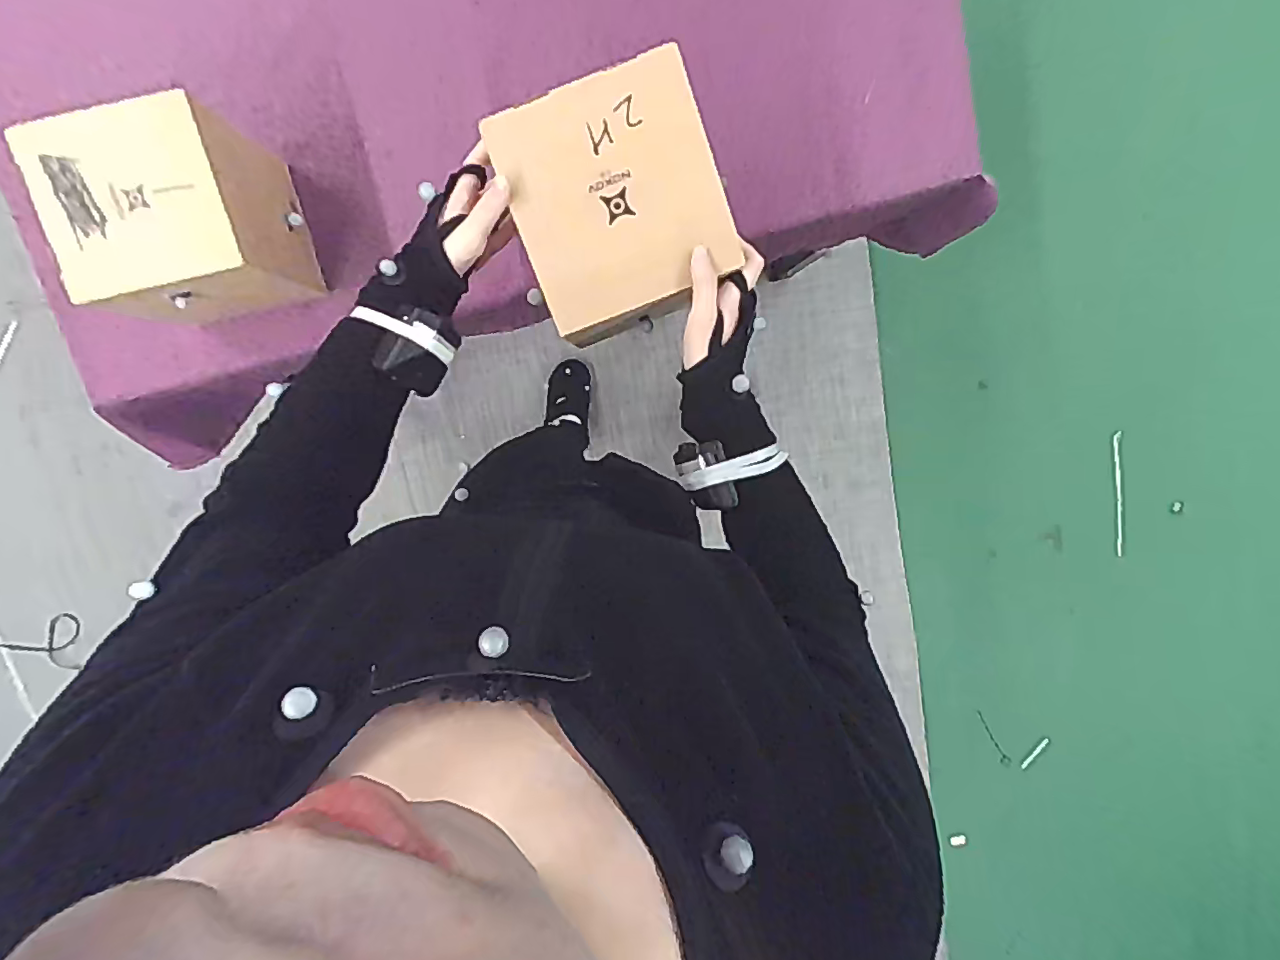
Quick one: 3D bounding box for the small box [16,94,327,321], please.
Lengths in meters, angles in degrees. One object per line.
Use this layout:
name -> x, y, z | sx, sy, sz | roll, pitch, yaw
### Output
small box -> -0.499, -0.285, 0.607 | 0.179, 0.176, 0.168 | -13, 100, -1
